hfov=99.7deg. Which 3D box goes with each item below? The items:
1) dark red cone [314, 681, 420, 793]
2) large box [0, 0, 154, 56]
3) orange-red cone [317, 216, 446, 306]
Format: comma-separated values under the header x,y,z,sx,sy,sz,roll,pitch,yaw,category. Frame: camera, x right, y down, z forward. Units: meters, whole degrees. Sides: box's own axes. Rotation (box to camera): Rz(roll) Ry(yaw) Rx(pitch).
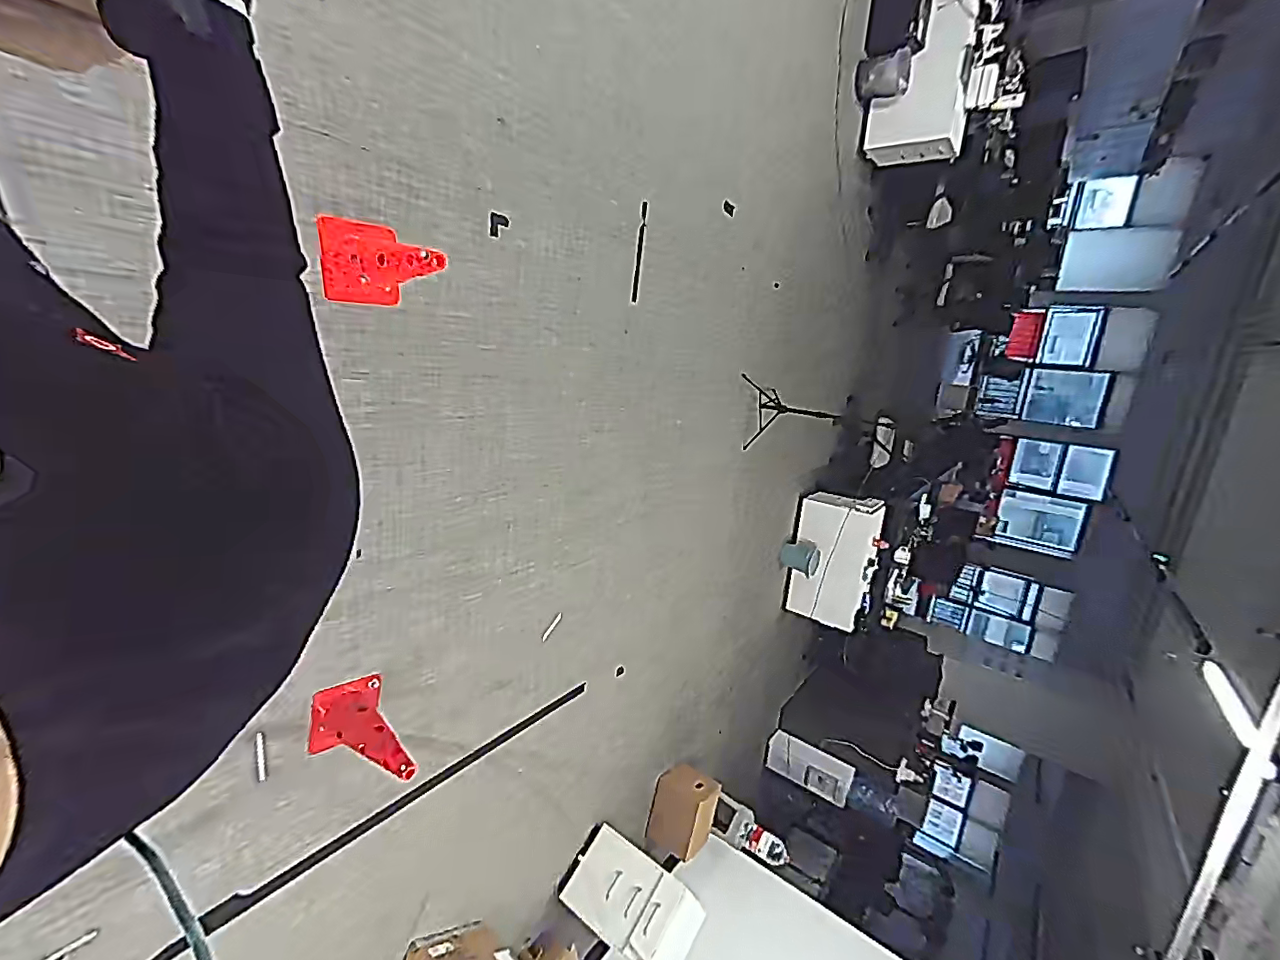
x,y,z,sx,sy,sz,roll,pitch,yaw,category
-0.735,0.747,1.514,0.201,0.394,0.202,-2,103,-53,dark red cone
-0.550,-0.486,0.260,0.408,0.320,0.320,-11,120,-52,large box
-0.586,-0.526,1.294,0.198,0.360,0.199,-16,113,-52,orange-red cone
